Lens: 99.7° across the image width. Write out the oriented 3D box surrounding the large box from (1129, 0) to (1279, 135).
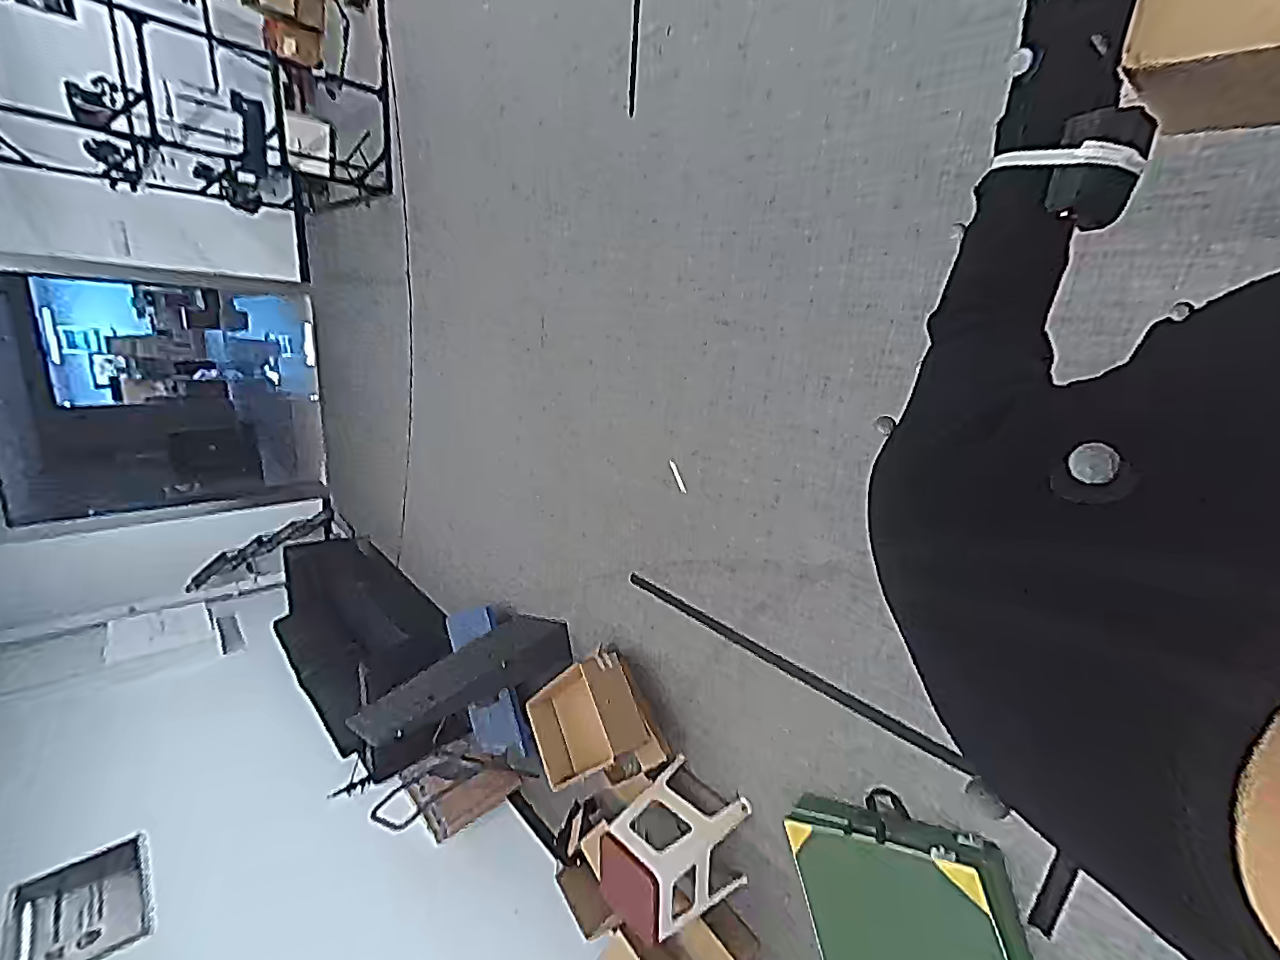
[{"bbox_3d":[0.574,-0.406,0.280,0.408,0.320,0.320,22,122,40],"label":"large box"}]
